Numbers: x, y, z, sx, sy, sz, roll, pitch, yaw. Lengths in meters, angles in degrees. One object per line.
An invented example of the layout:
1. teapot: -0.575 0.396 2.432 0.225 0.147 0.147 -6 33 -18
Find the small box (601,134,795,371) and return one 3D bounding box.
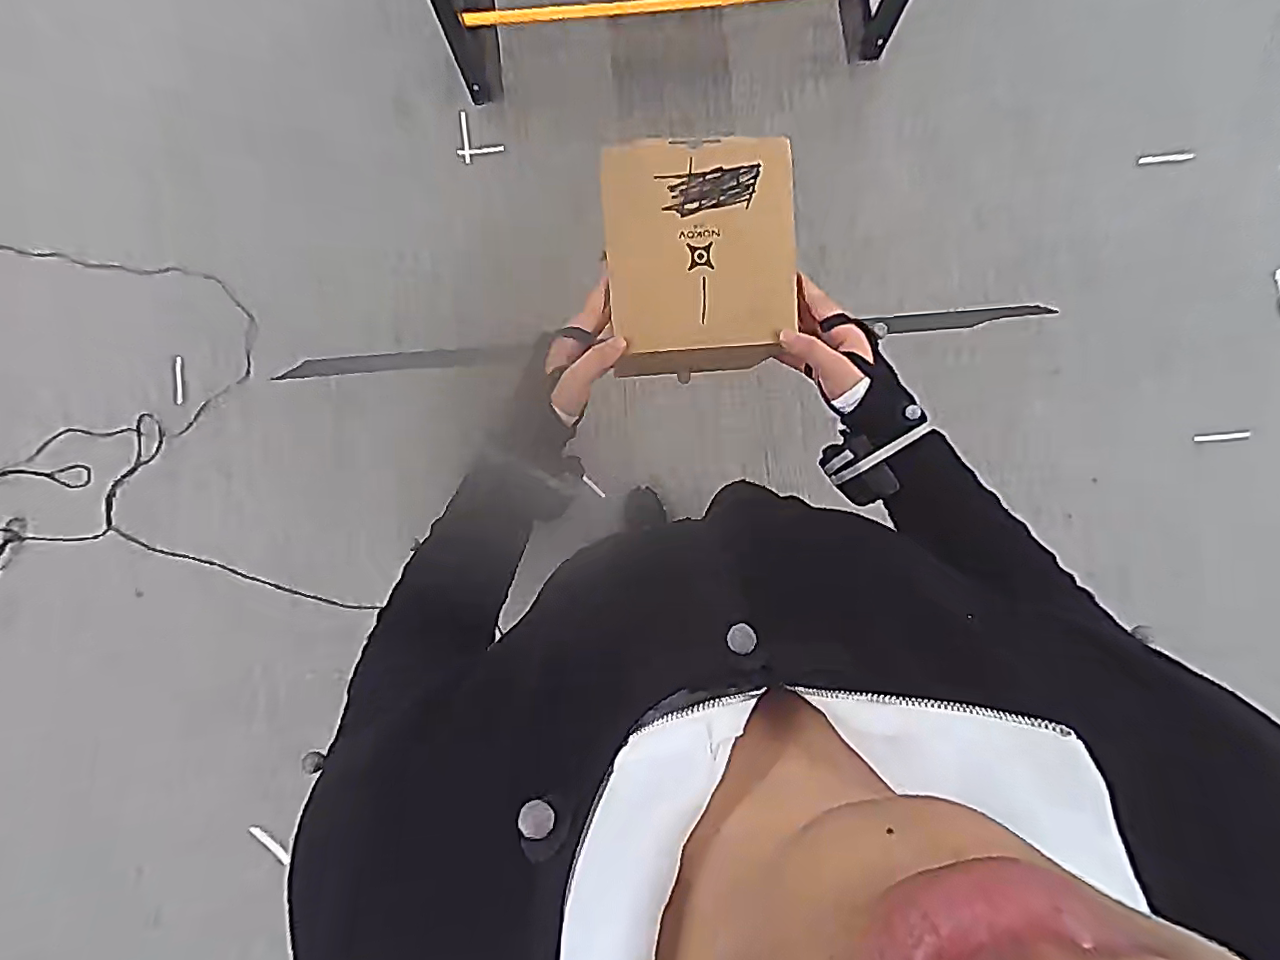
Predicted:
1. small box: 0.046 -0.213 0.547 0.168 0.176 0.179 -4 95 -2

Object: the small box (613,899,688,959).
1. small box: 0.030 1.141 1.276 0.168 0.176 0.179 -6 88 0
